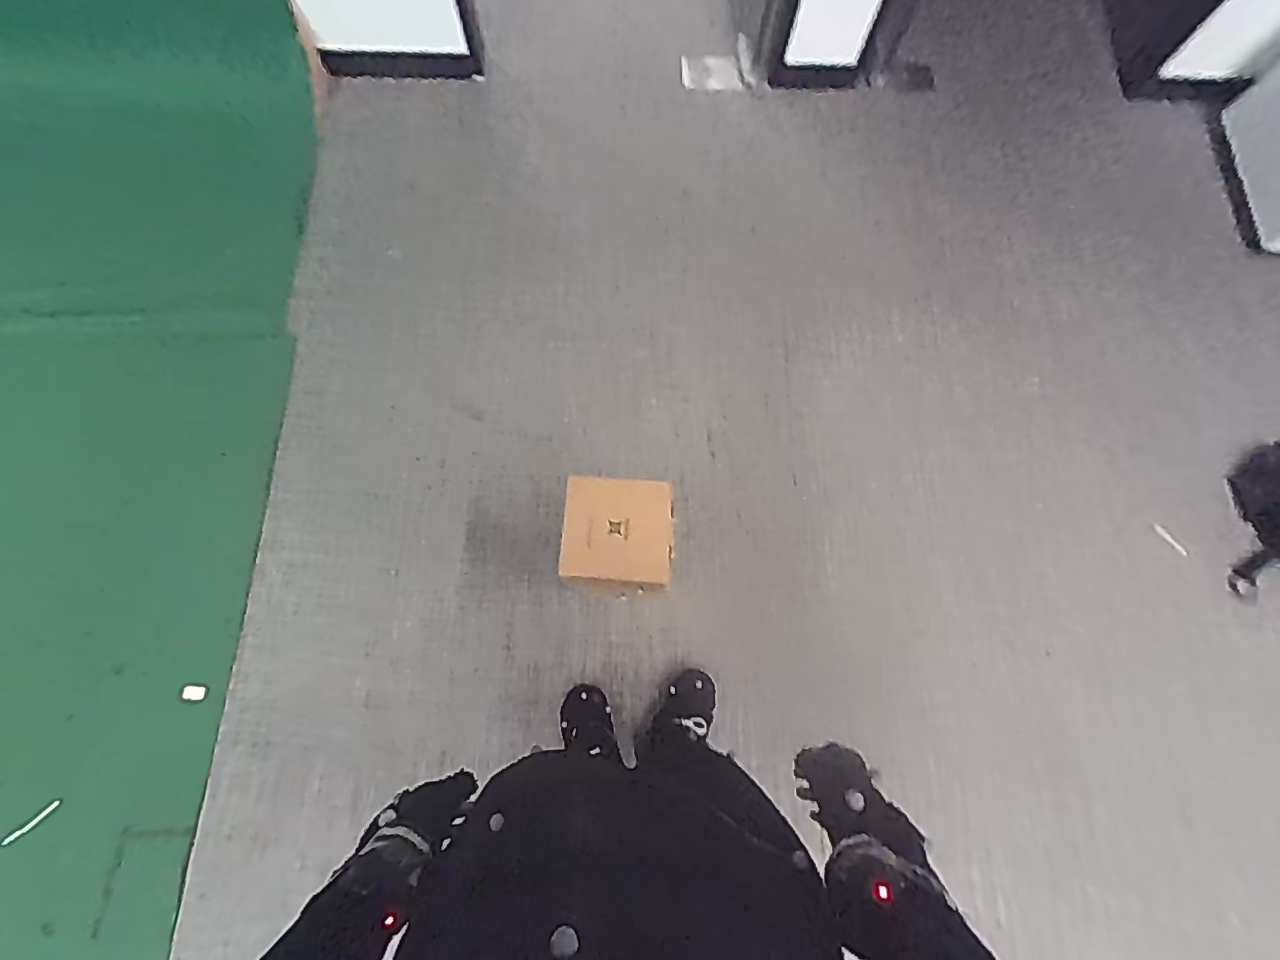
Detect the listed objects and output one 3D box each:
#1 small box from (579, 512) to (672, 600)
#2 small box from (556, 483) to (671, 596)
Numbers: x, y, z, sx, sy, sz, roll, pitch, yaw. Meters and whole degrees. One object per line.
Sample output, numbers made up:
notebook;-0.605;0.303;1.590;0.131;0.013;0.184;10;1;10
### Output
small box;-0.032;0.153;1.098;0.179;0.176;0.168;4;74;-1
small box;-0.041;0.109;0.941;0.179;0.176;0.168;2;73;1
